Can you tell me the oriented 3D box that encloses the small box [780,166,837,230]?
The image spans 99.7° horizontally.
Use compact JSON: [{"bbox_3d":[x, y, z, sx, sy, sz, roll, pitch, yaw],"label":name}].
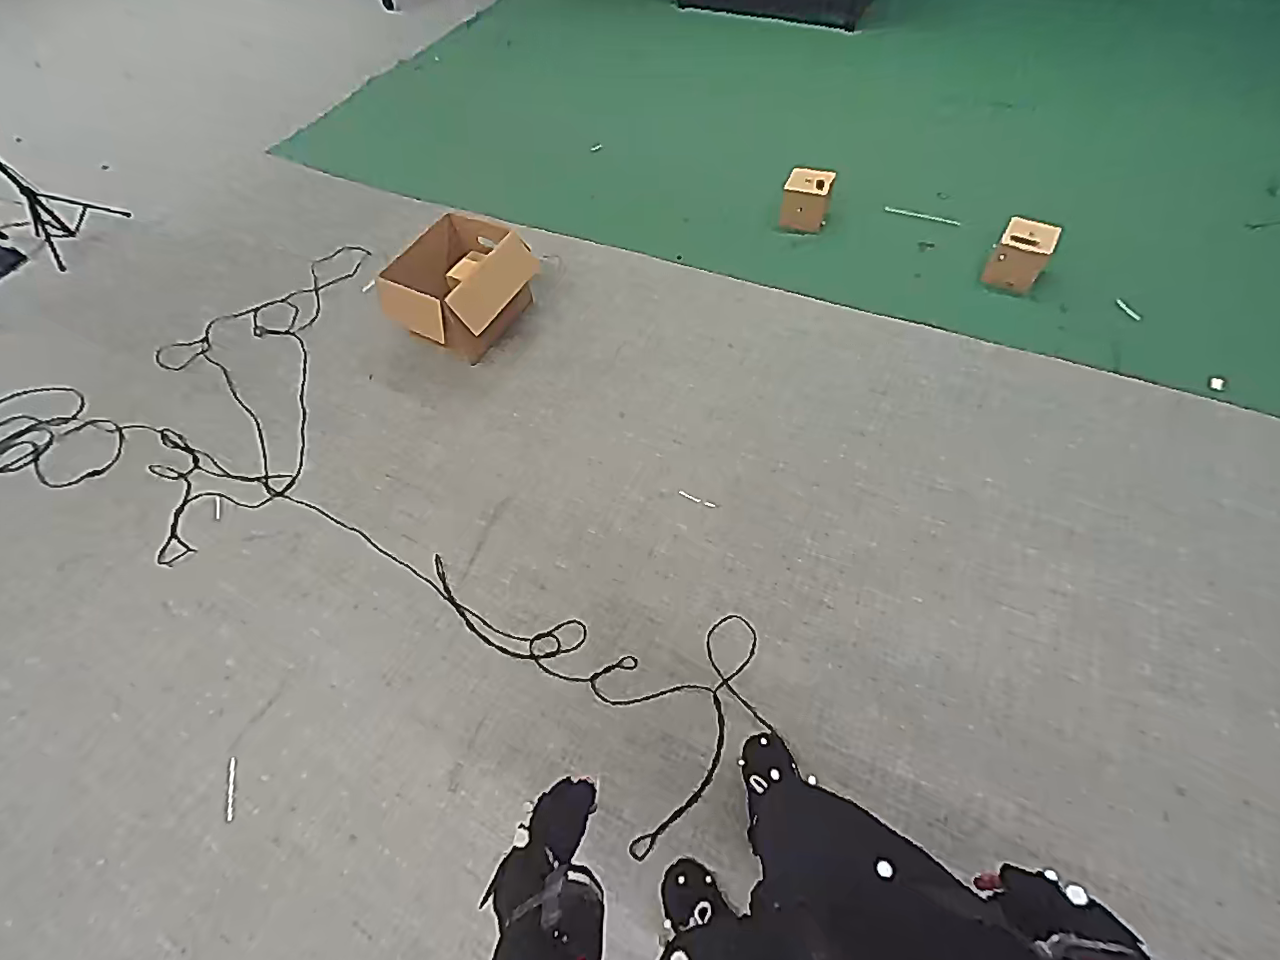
[{"bbox_3d":[0.699,-1.173,2.254,0.179,0.176,0.168,19,62,17],"label":"small box"}]
